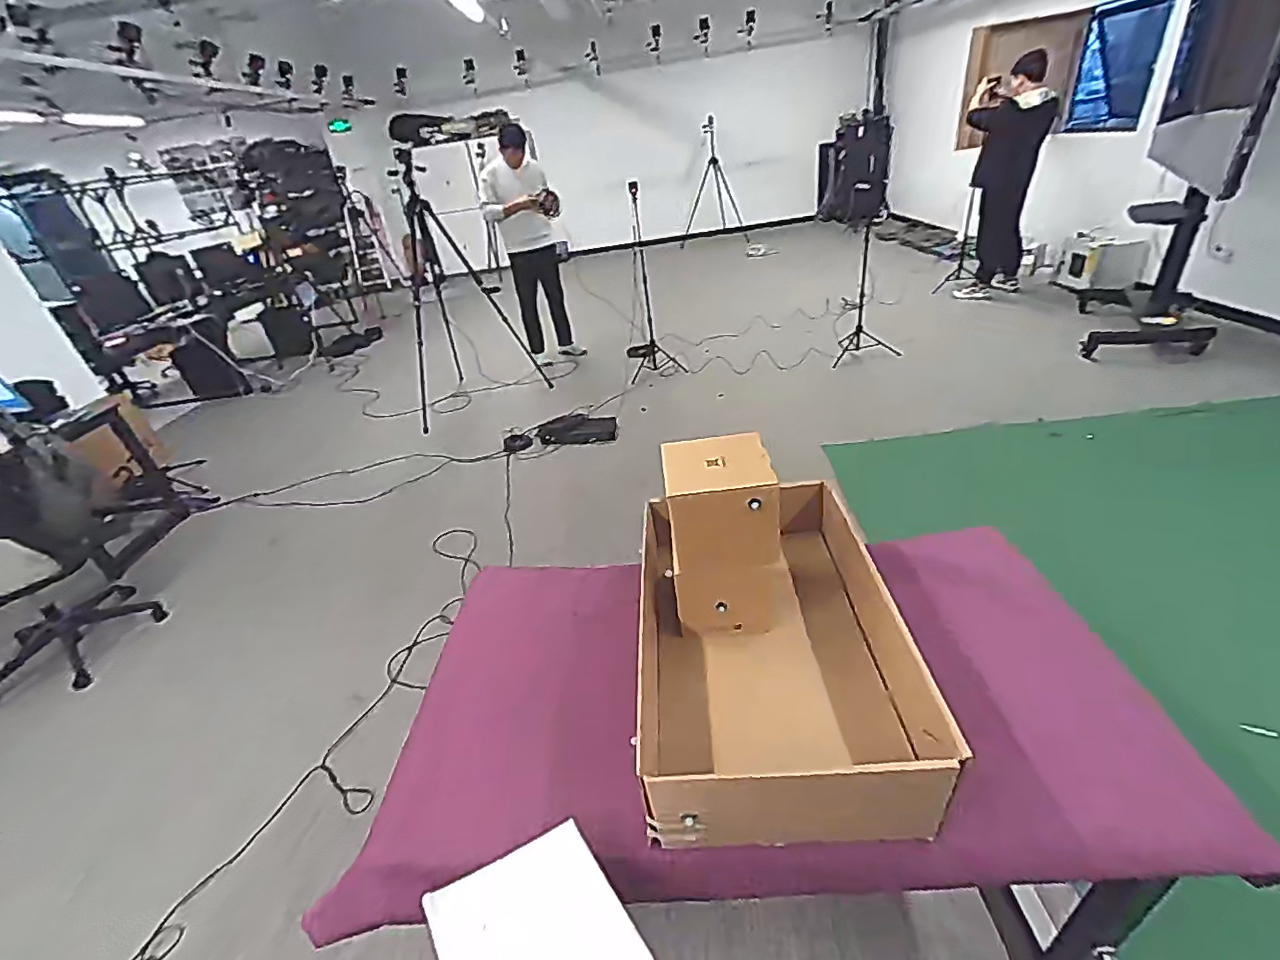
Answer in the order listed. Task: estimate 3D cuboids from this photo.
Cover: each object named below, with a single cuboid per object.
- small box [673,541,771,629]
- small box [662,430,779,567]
[{"bbox_3d":[0.154,0.166,1.025,0.168,0.176,0.179,-6,34,6],"label":"small box"},{"bbox_3d":[0.137,0.034,0.933,0.179,0.176,0.168,-7,34,3],"label":"small box"}]
